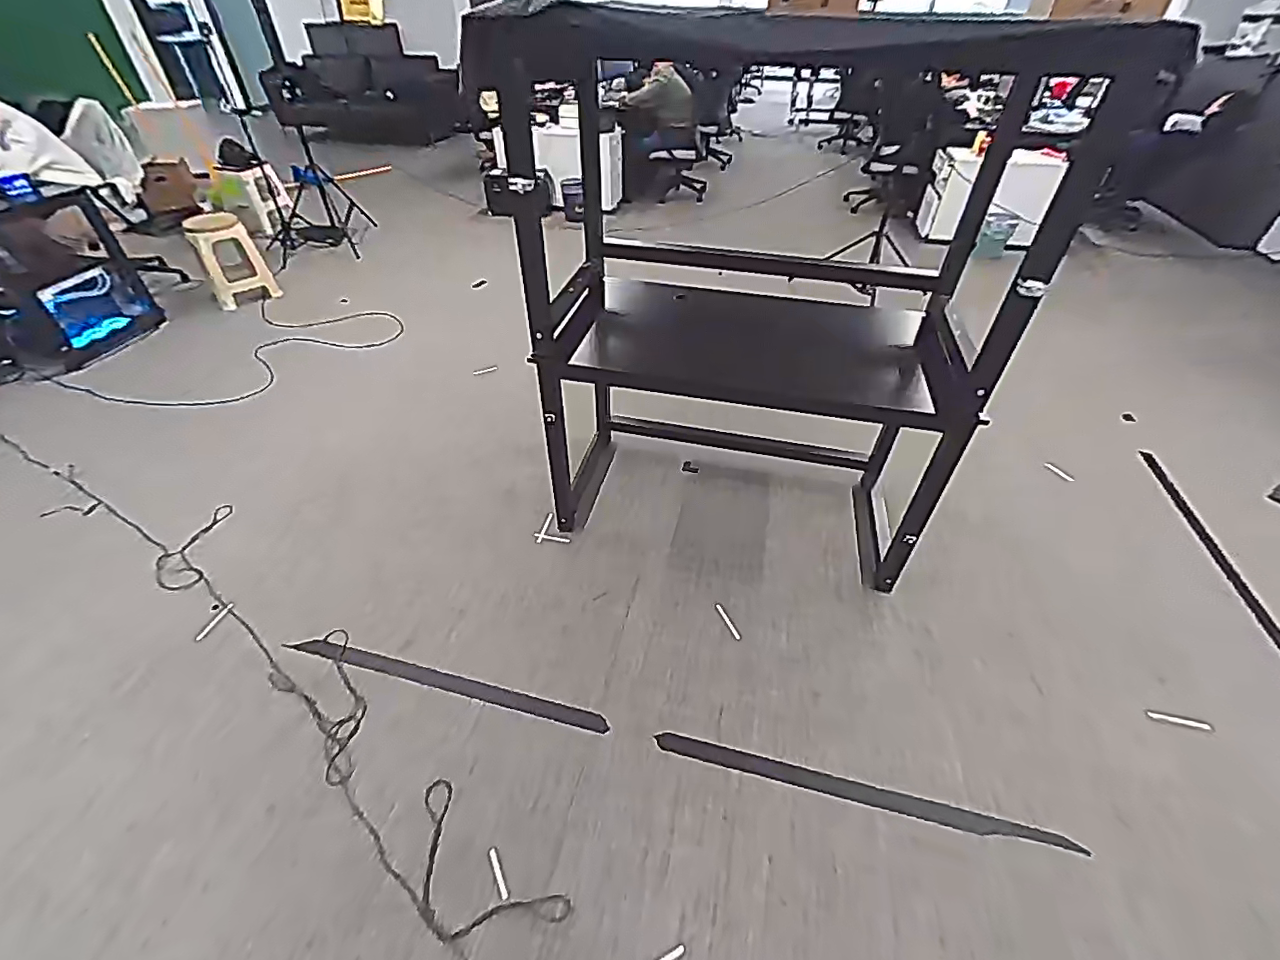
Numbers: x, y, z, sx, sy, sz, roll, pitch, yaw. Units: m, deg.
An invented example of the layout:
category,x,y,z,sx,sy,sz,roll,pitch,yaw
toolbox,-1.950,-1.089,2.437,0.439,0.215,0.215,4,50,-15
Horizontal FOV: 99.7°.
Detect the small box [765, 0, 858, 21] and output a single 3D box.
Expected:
category,x,y,z,sx,sy,sz,roll,pitch,yaw
small box,0.330,-0.965,1.002,0.168,0.176,0.179,9,41,9
